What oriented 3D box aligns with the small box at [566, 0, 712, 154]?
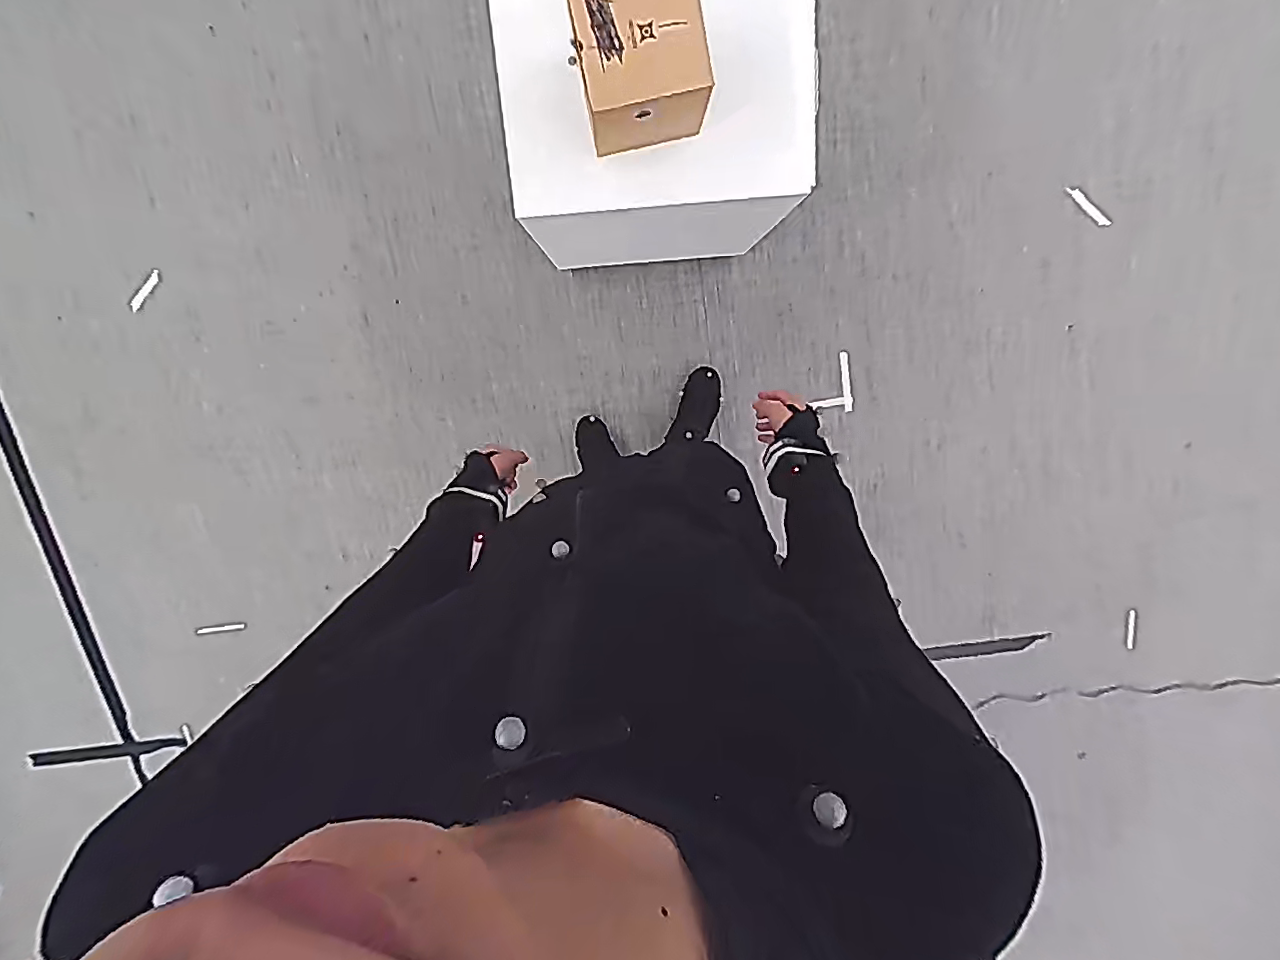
[{"bbox_3d":[-0.002,-0.615,0.803,0.179,0.176,0.168,-12,102,1],"label":"small box"}]
